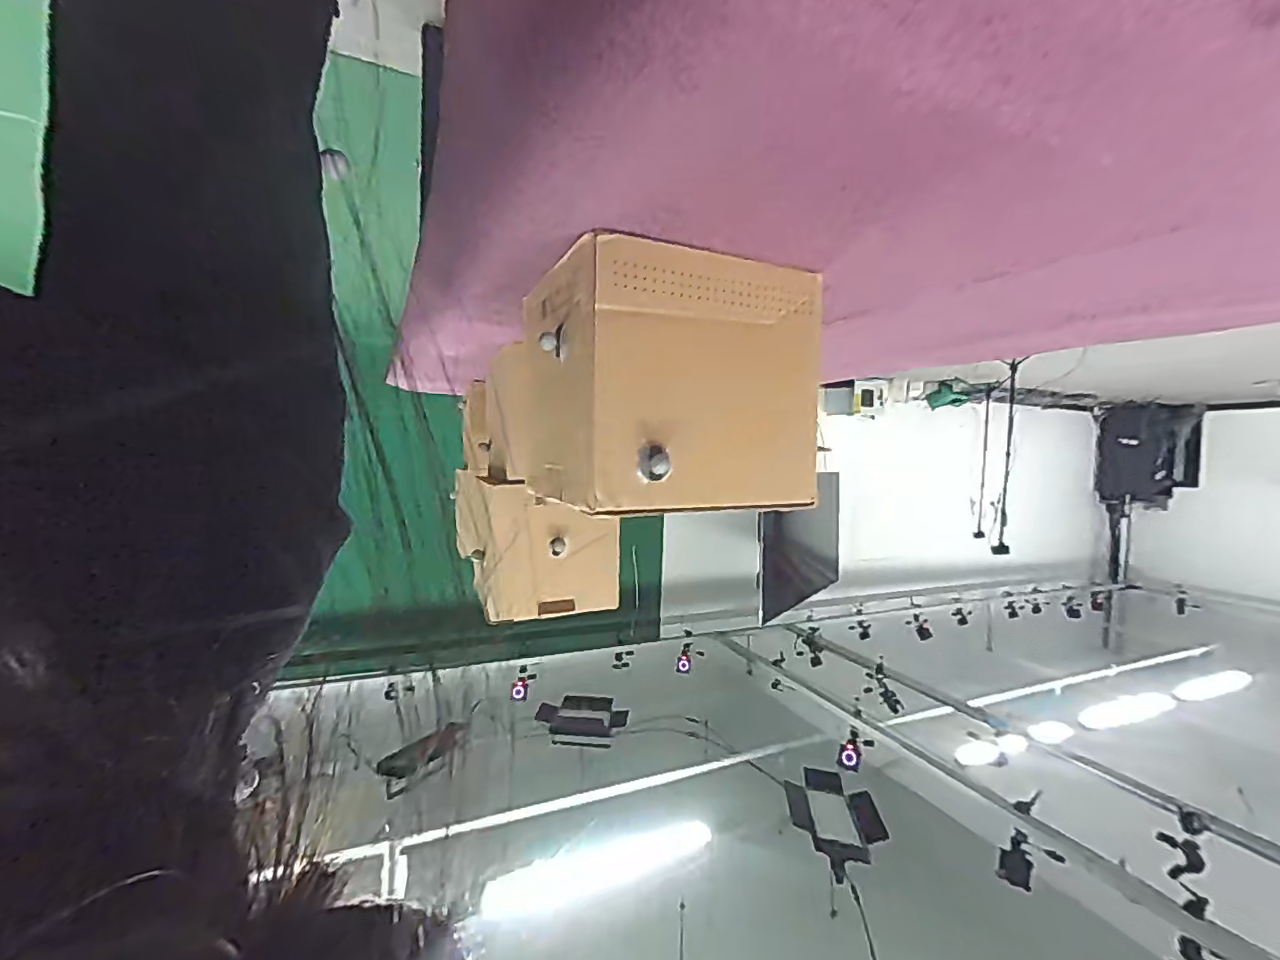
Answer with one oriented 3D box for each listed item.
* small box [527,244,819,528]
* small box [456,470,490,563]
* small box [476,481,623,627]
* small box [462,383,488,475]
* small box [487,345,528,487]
[{"bbox_3d":[0.018,-0.063,0.412,0.179,0.176,0.168,-1,-176,-25],"label":"small box"},{"bbox_3d":[-0.274,0.065,1.094,0.179,0.176,0.168,-1,-178,-22],"label":"small box"},{"bbox_3d":[-0.130,0.085,0.735,0.168,0.176,0.179,0,-177,-22],"label":"small box"},{"bbox_3d":[-0.255,-0.099,1.076,0.179,0.176,0.168,-1,-178,-22],"label":"small box"},{"bbox_3d":[-0.114,-0.080,0.738,0.168,0.176,0.179,-2,-177,-23],"label":"small box"}]
